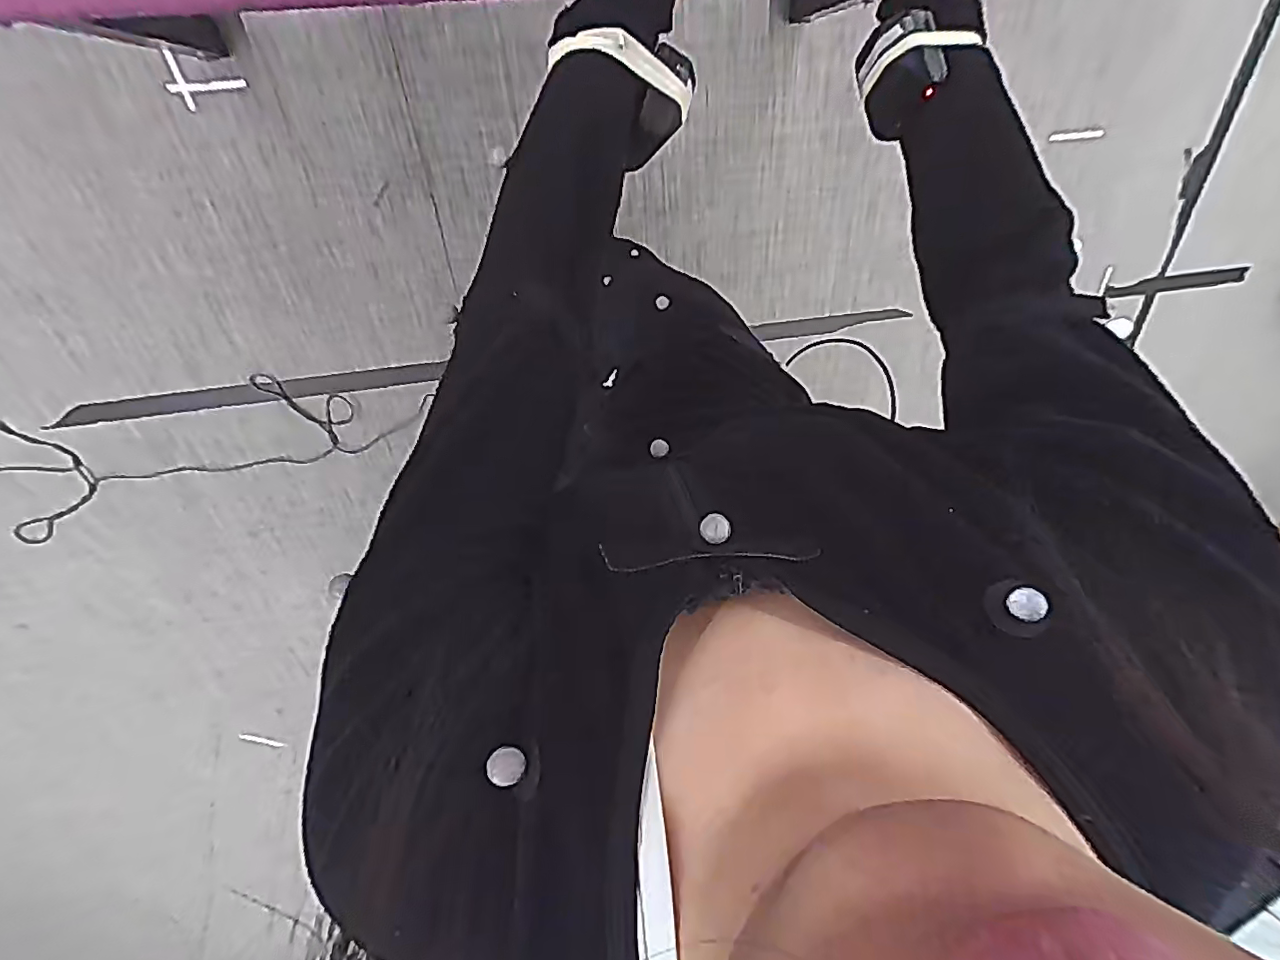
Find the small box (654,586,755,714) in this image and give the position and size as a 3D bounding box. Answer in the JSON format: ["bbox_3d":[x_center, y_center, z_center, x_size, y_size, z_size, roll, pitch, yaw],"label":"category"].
[{"bbox_3d":[0.125,0.347,1.114,0.168,0.176,0.179,-9,125,-8],"label":"small box"}]
